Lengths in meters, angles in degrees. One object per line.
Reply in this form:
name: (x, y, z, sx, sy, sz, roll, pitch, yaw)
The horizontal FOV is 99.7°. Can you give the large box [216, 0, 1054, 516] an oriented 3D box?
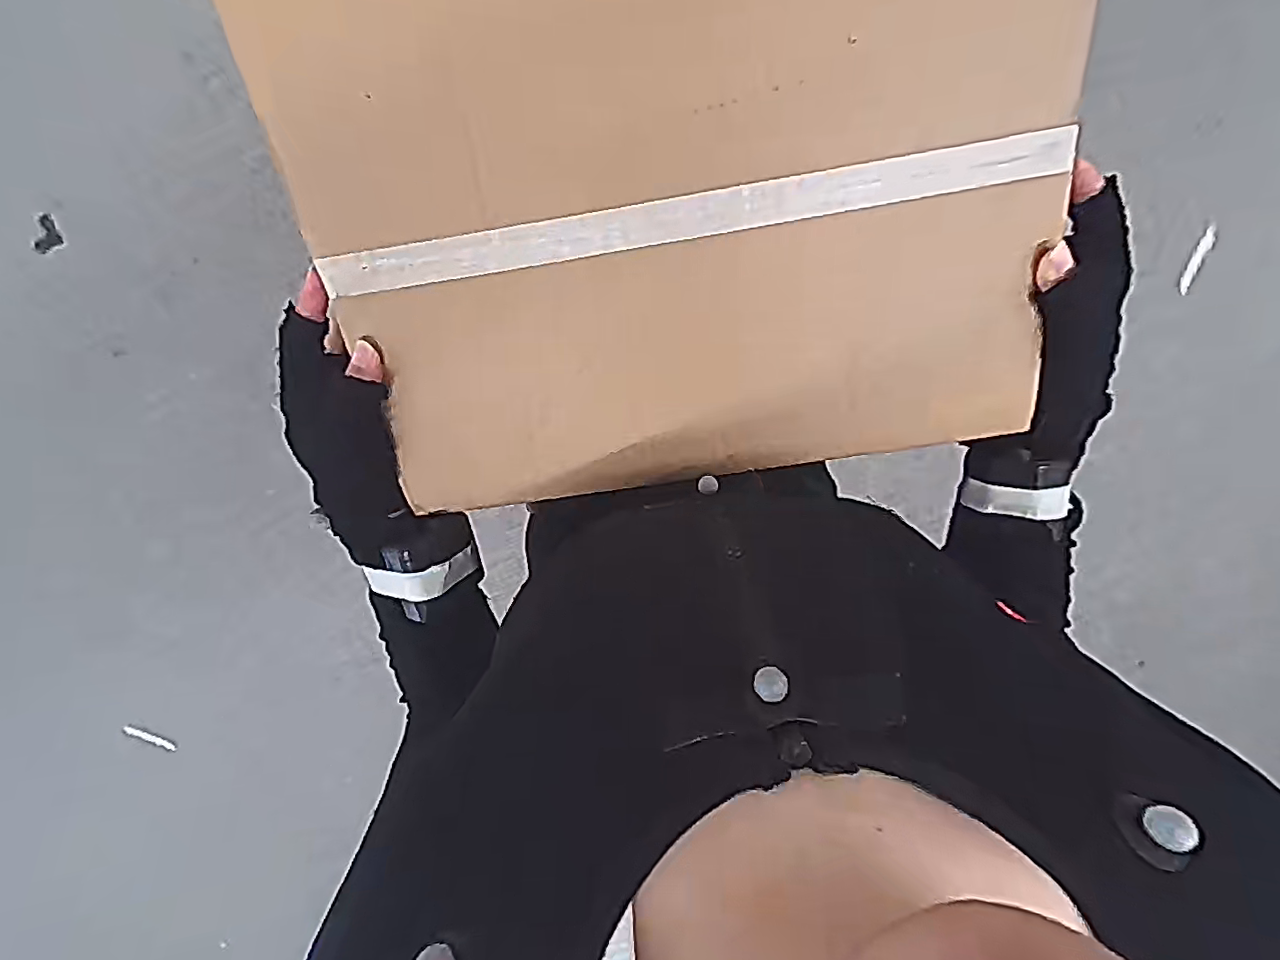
large box: (0.016, -0.207, 0.437, 0.408, 0.320, 0.320, -9, 114, 4)
